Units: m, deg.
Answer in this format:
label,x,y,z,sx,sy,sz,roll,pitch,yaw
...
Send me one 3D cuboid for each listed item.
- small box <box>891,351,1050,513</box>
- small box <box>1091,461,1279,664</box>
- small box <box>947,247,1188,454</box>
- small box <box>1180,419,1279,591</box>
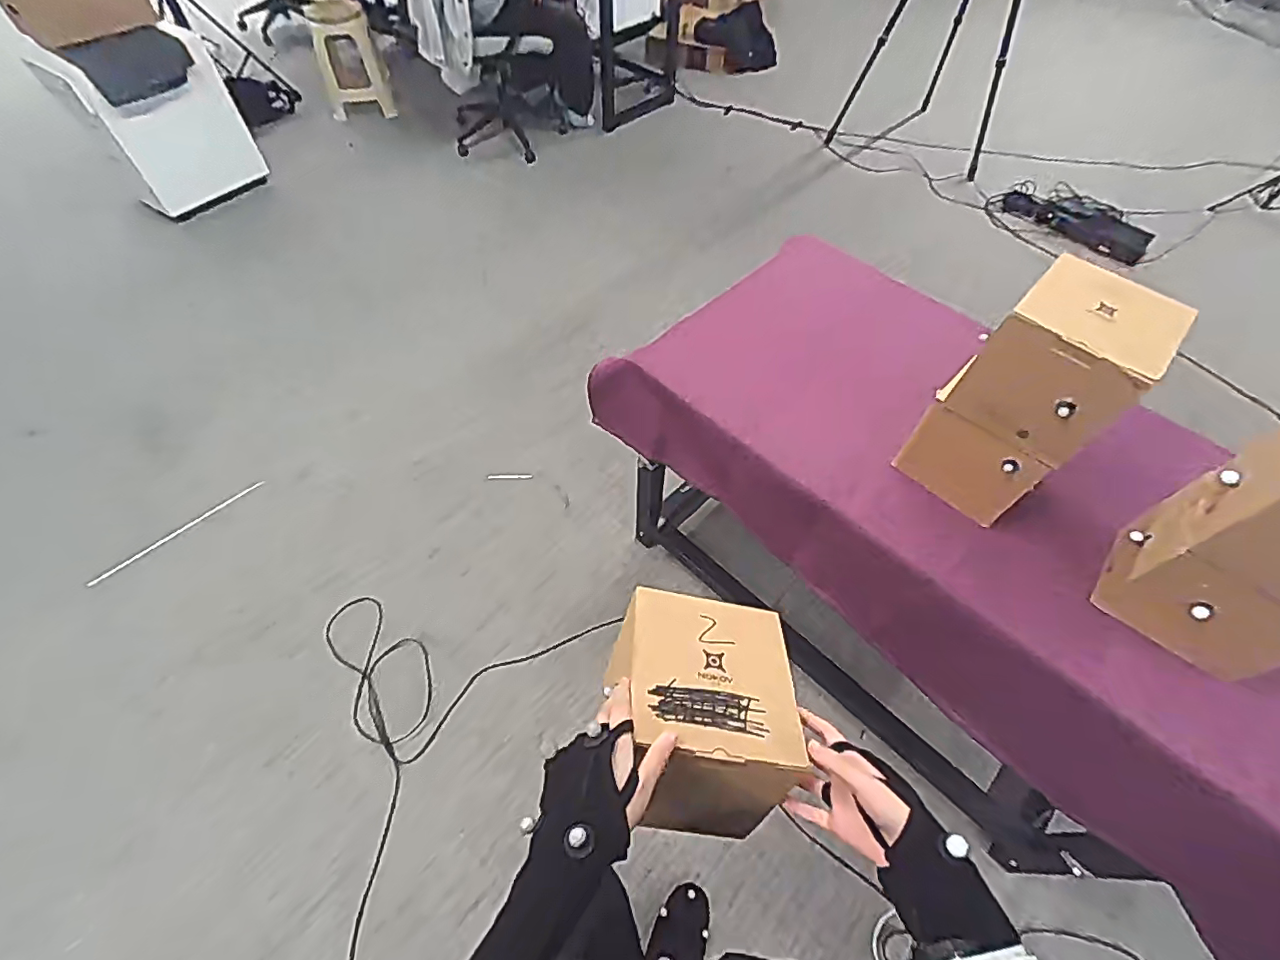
label,x,y,z,sx,sy,sz,roll,pitch,yaw
small box,0.537,-0.080,0.854,0.168,0.176,0.179,-39,66,-24
small box,0.766,0.115,0.723,0.179,0.176,0.168,37,63,22
small box,0.546,-0.167,0.717,0.168,0.176,0.179,40,63,21
small box,0.766,0.024,0.586,0.179,0.176,0.168,38,62,22
